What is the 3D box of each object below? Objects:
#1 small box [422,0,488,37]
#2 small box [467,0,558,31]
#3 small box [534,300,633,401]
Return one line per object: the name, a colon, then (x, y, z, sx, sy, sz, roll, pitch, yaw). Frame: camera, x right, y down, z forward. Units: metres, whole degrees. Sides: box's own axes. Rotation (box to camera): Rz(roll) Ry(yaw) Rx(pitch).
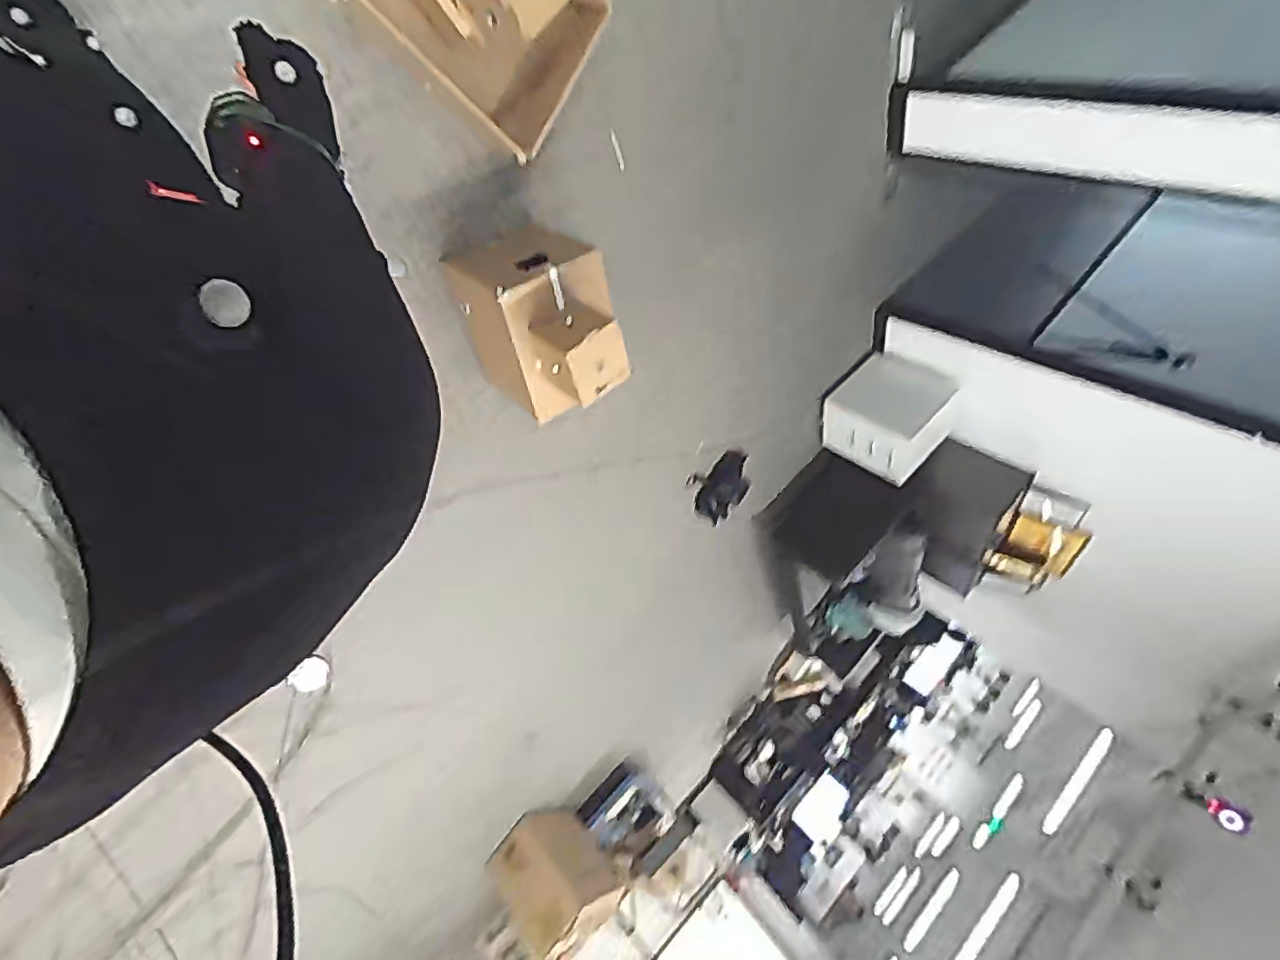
small box: (-0.350, -1.008, 1.052, 0.179, 0.176, 0.168, -55, 143, -1)
small box: (-0.235, -0.941, 0.960, 0.179, 0.176, 0.168, -53, 144, -4)
small box: (-0.147, -0.341, 1.387, 0.168, 0.176, 0.179, -39, 142, -18)
